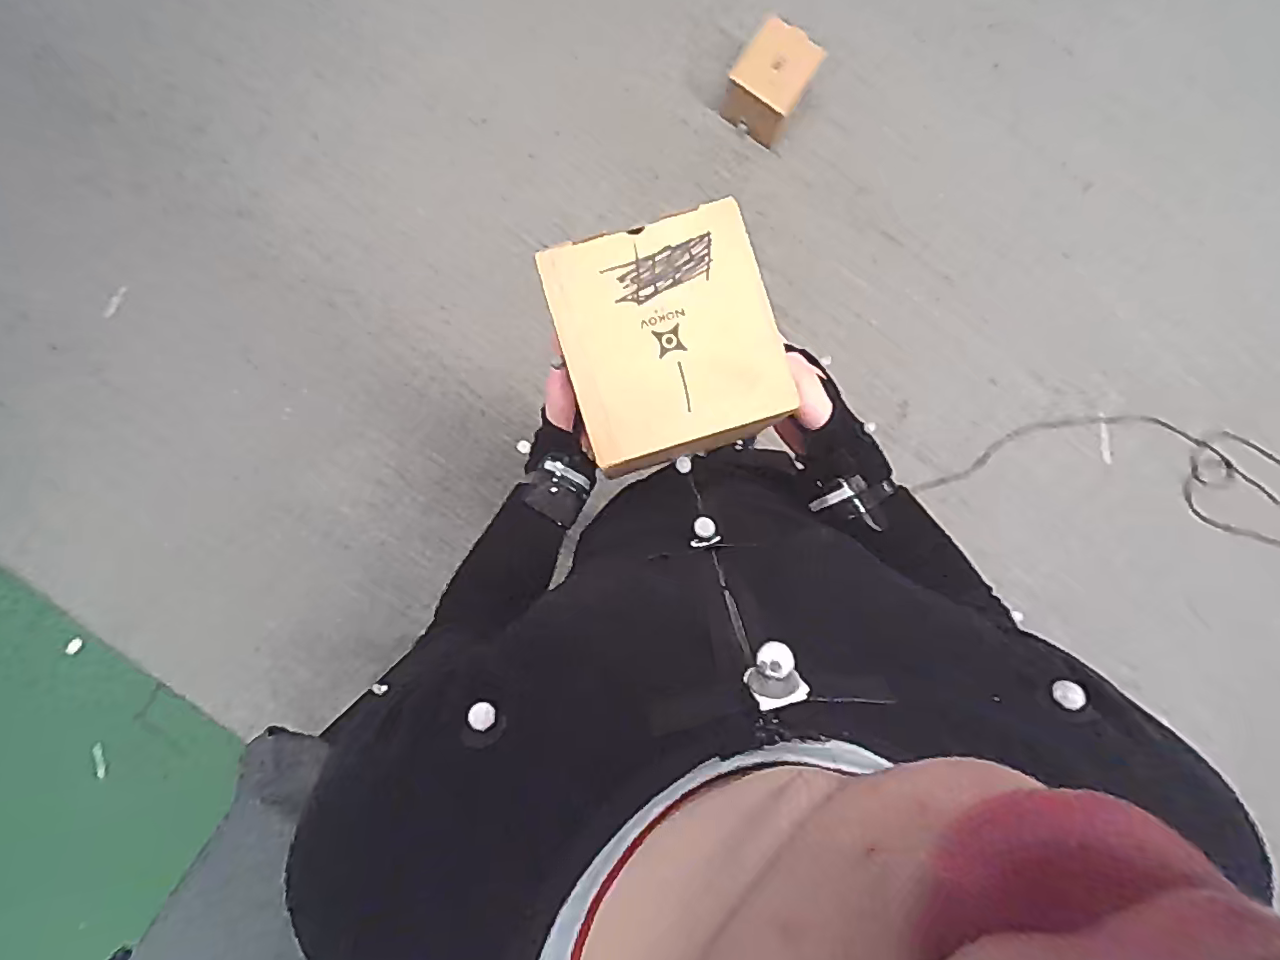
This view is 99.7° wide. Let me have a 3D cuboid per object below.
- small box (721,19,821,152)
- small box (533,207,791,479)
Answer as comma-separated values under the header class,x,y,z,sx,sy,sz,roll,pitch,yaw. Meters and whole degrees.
class,x,y,z,sx,sy,sz,roll,pitch,yaw
small box,0.320,-0.986,1.369,0.168,0.176,0.179,35,96,-1
small box,0.013,-0.108,0.501,0.168,0.176,0.179,-18,89,-2
